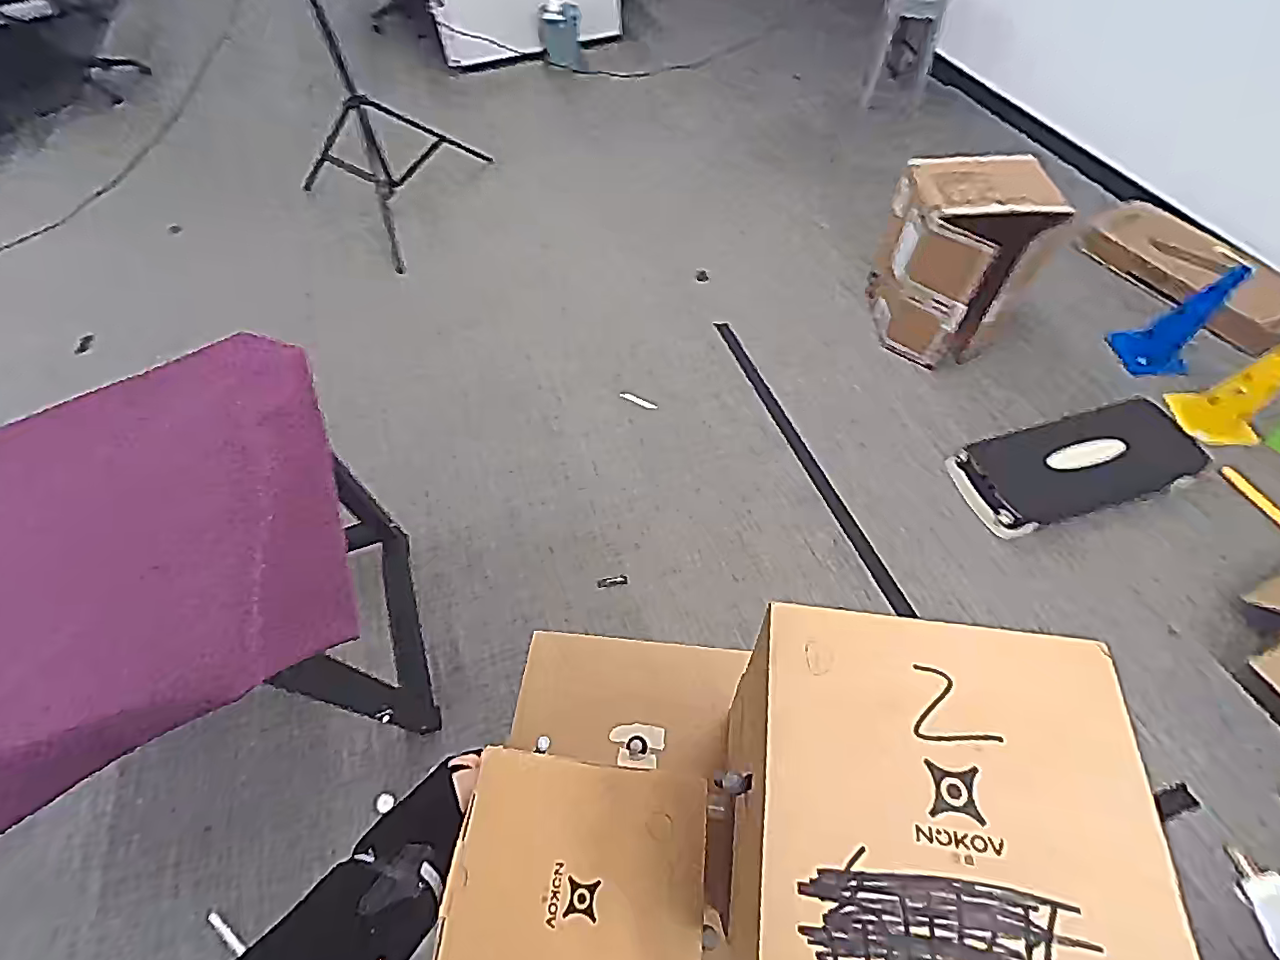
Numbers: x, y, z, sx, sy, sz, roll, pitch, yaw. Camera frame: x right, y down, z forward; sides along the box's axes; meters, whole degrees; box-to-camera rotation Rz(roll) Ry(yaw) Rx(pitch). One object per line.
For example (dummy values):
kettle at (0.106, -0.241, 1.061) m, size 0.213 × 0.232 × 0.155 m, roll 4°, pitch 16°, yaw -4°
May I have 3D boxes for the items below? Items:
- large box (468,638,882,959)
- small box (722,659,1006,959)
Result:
large box at (0.067, 0.396, 0.657) m, size 0.408 × 0.320 × 0.320 m, roll 2°, pitch 57°, yaw 6°
small box at (0.157, 0.265, 0.441) m, size 0.168 × 0.176 × 0.179 m, roll 5°, pitch 58°, yaw 9°
